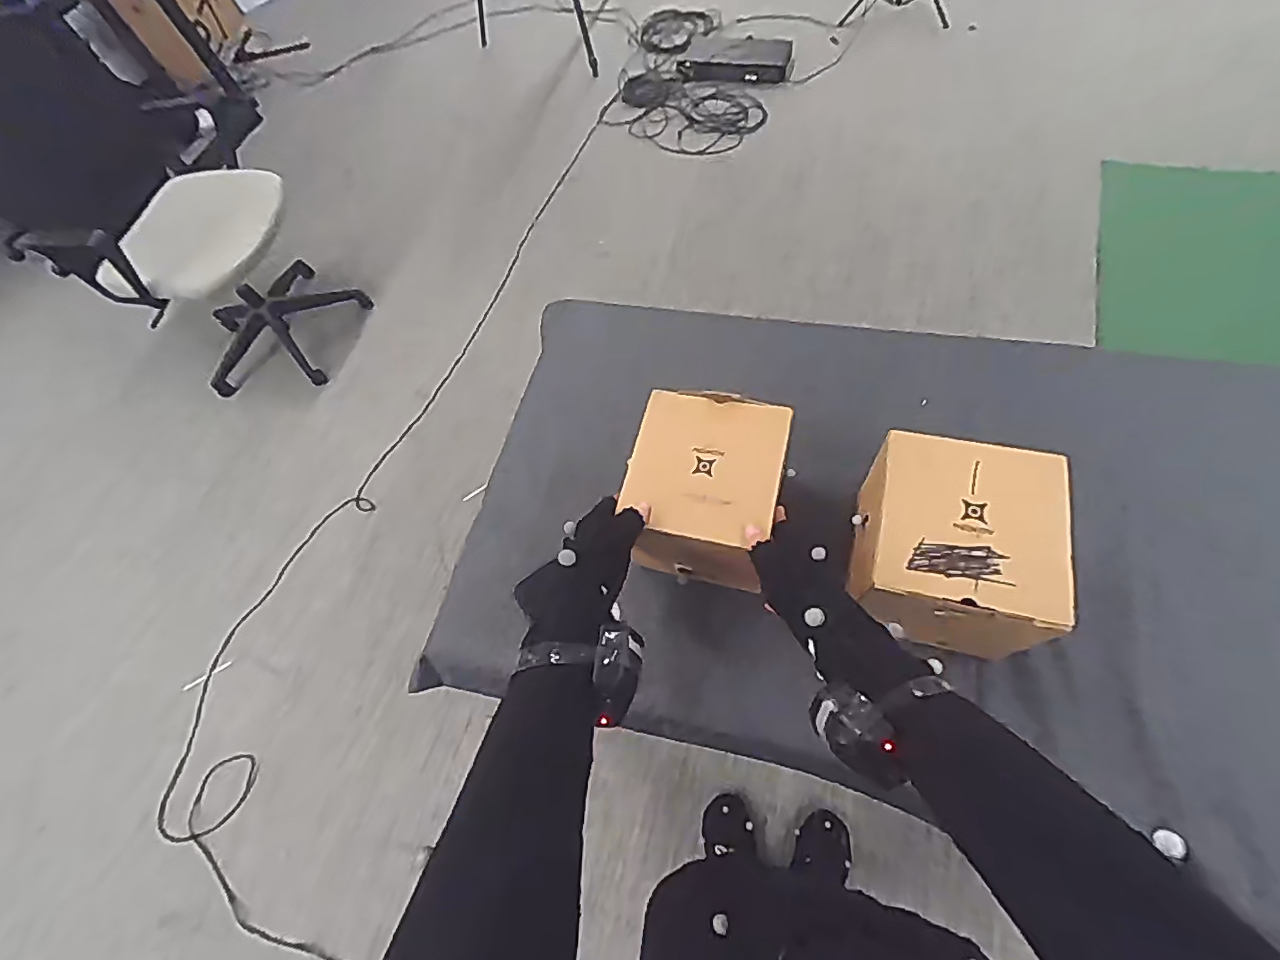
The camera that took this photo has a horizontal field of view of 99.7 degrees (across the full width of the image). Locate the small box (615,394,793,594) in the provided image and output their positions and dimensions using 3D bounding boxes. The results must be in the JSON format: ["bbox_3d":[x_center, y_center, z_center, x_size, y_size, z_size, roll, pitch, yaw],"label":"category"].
[{"bbox_3d":[0.084,0.022,0.659,0.168,0.176,0.179,9,67,15],"label":"small box"}]

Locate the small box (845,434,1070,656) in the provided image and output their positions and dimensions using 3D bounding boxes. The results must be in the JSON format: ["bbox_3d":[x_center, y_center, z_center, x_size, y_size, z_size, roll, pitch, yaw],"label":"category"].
[{"bbox_3d":[0.328,0.077,0.587,0.168,0.176,0.179,11,65,15],"label":"small box"}]
